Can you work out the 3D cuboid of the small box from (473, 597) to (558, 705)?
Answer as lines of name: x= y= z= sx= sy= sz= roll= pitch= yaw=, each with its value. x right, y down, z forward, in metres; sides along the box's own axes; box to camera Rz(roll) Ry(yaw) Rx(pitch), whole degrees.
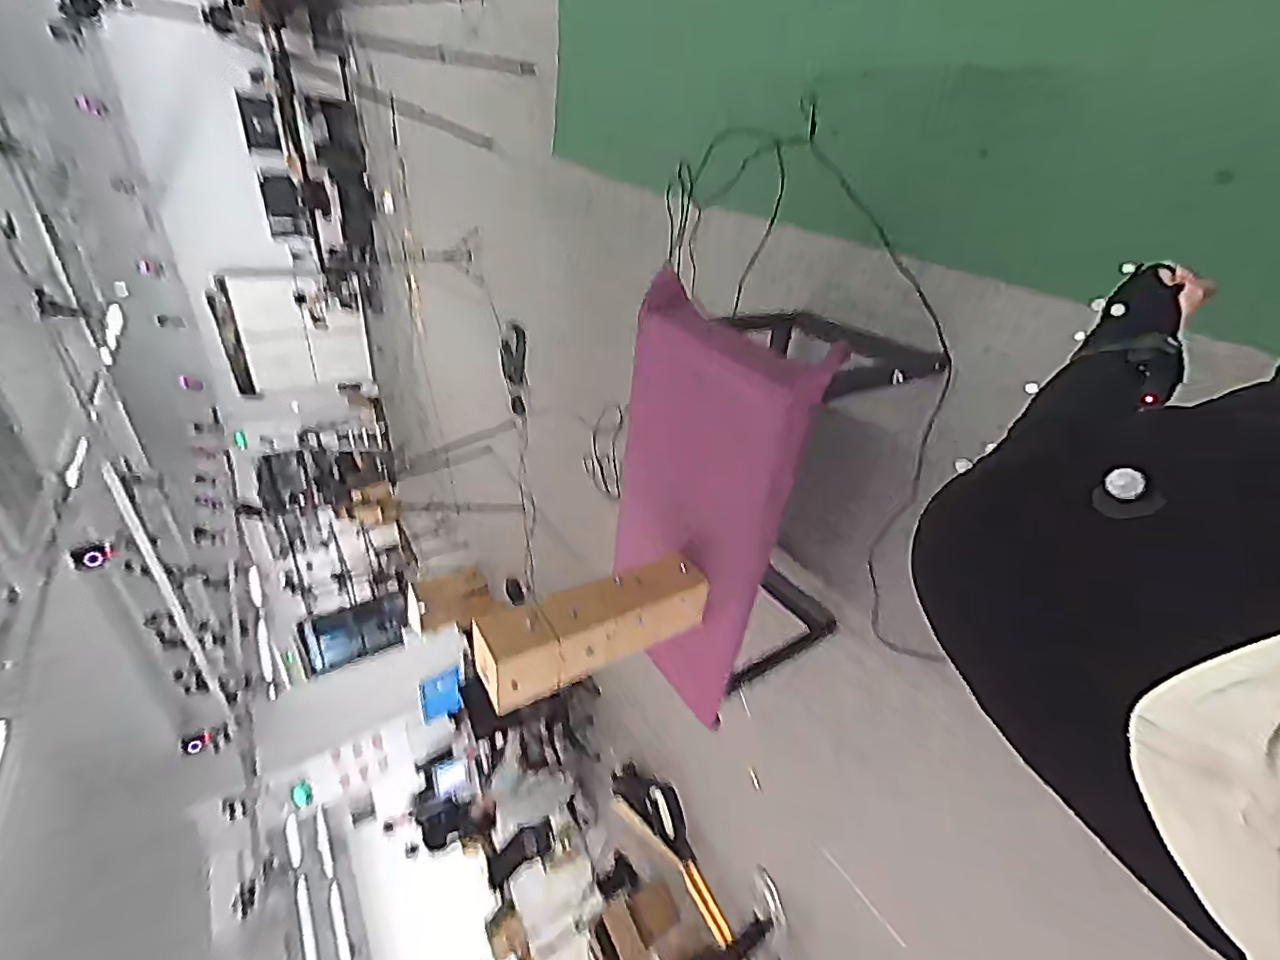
small box: x=-0.322 y=0.437 z=1.403 sx=0.168 sy=0.176 sz=0.179 roll=41 pitch=133 yaw=44

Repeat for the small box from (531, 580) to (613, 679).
small box: x=-0.189 y=0.403 z=1.493 sx=0.179 sy=0.176 sz=0.168 roll=40 pitch=133 yaw=43

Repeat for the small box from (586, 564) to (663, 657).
small box: x=-0.050 y=0.373 z=1.574 sx=0.168 sy=0.176 sz=0.179 roll=42 pitch=135 yaw=42
